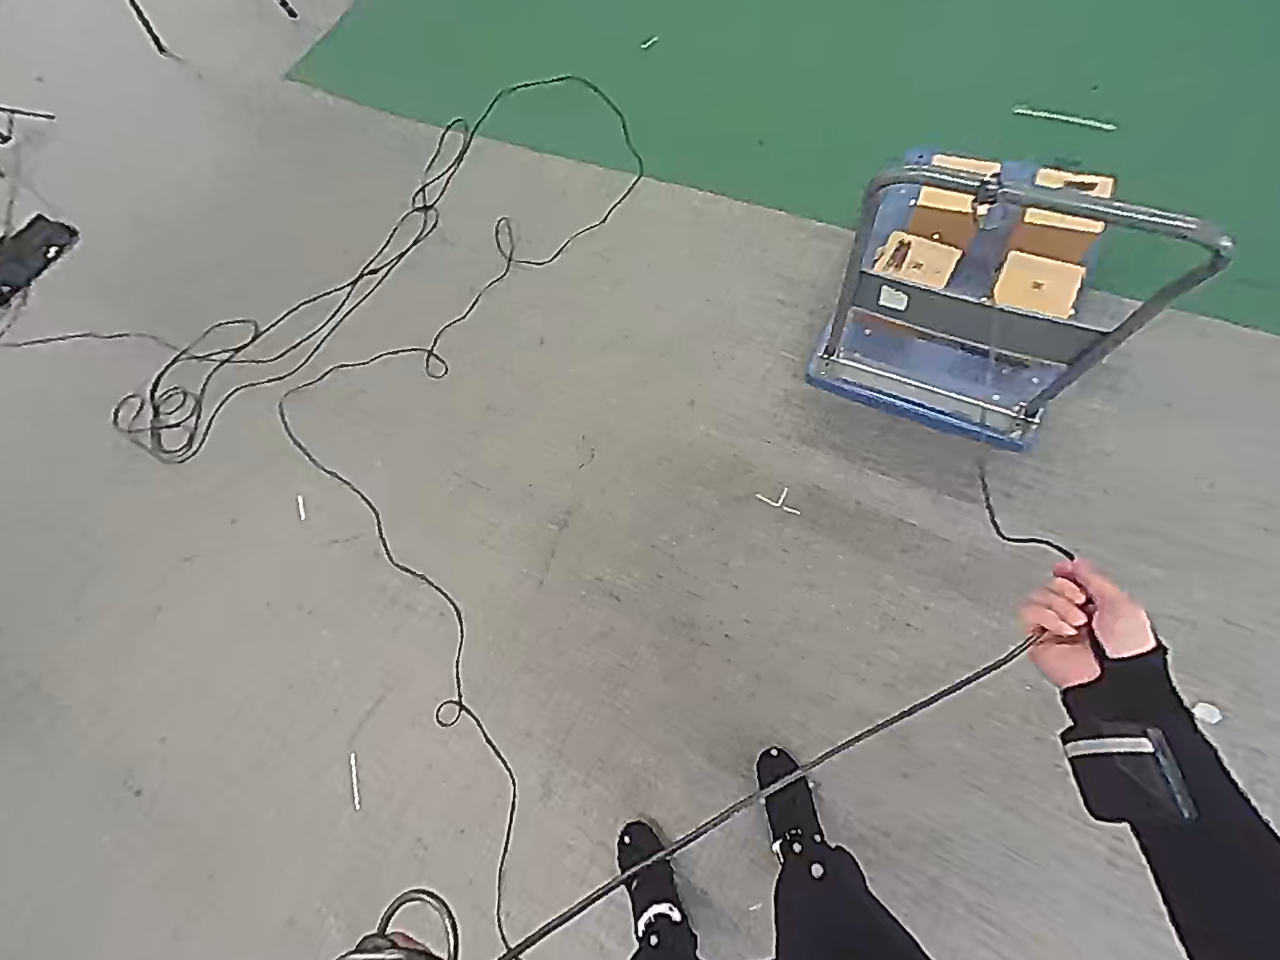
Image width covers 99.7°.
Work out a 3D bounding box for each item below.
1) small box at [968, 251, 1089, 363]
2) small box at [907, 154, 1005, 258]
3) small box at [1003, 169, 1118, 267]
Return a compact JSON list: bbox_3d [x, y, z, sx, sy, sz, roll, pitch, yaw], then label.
[{"bbox_3d":[0.950,-0.423,1.338,0.168,0.176,0.179,25,78,18],"label":"small box"},{"bbox_3d":[0.849,-0.738,1.468,0.168,0.176,0.179,21,76,16],"label":"small box"},{"bbox_3d":[1.075,-0.656,1.395,0.168,0.176,0.179,20,77,18],"label":"small box"}]
